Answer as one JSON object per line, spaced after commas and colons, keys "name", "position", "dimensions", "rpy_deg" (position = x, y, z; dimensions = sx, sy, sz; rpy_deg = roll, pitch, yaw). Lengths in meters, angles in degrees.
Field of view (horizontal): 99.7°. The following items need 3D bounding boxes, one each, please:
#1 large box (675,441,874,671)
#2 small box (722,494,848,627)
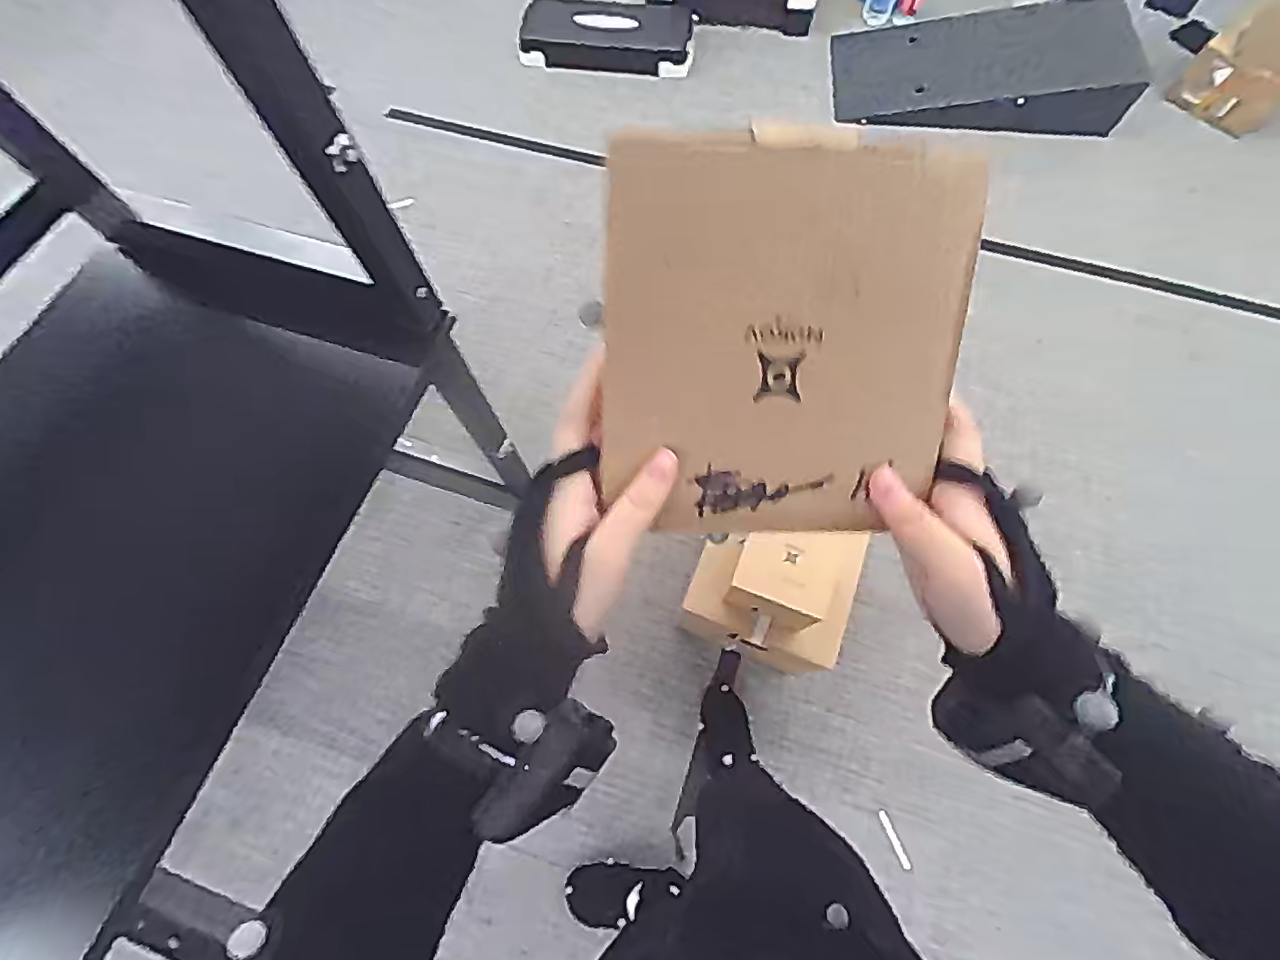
{"name": "large box", "position": [0.294, 0.190, 1.258], "dimensions": [0.320, 0.320, 0.408], "rpy_deg": [21, 70, 7]}
{"name": "small box", "position": [0.261, 0.156, 1.009], "dimensions": [0.168, 0.176, 0.179], "rpy_deg": [21, 71, 10]}
